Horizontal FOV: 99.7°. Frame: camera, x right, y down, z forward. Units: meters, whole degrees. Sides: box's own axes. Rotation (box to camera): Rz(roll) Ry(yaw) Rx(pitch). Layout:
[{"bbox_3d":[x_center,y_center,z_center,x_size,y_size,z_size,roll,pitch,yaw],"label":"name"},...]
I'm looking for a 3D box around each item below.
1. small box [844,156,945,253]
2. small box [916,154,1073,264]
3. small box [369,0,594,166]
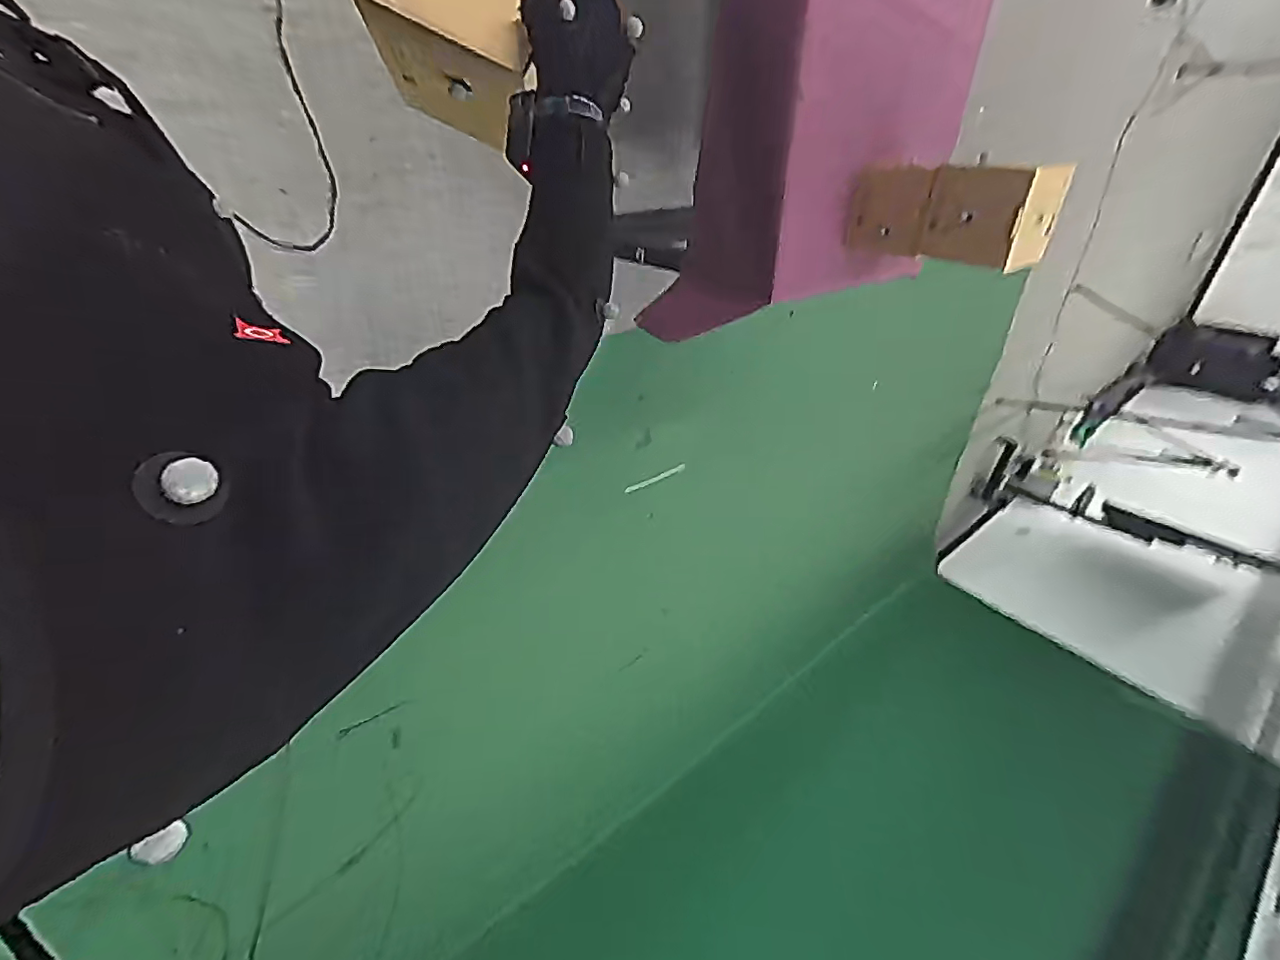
[{"bbox_3d":[0.559,-0.581,1.135,0.179,0.176,0.168,-23,129,-32],"label":"small box"},{"bbox_3d":[0.659,-0.516,1.023,0.179,0.176,0.168,-22,130,-31],"label":"small box"},{"bbox_3d":[-0.156,-0.480,0.559,0.176,0.168,0.179,22,89,-7],"label":"small box"}]
